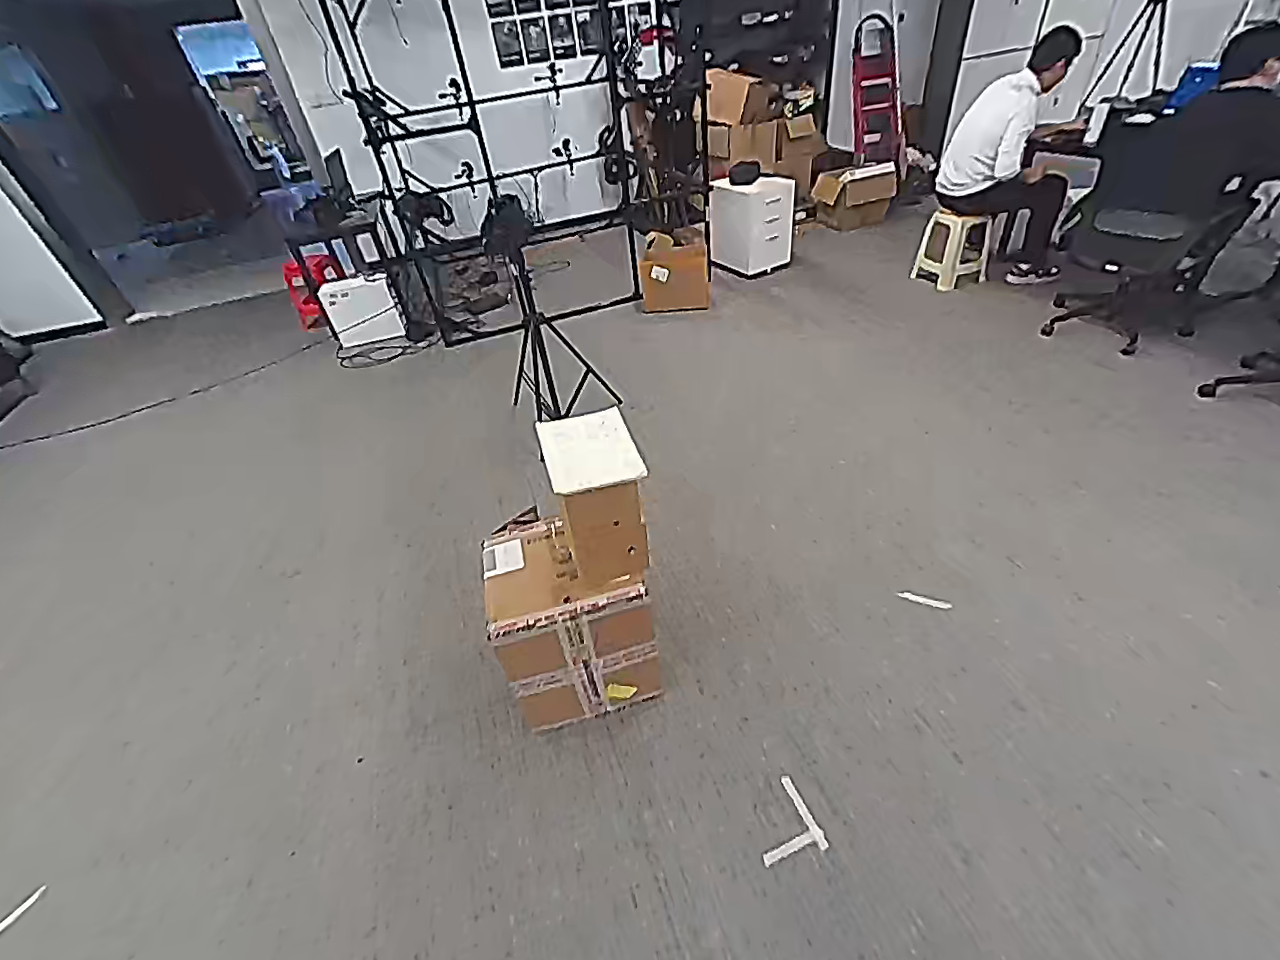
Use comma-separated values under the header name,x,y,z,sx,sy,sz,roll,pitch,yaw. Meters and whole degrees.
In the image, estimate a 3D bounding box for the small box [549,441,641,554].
name,x,y,z,sx,sy,sz,roll,pitch,yaw
small box,-0.103,0.040,1.237,0.168,0.176,0.179,-15,40,-12

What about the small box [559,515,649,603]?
name,x,y,z,sx,sy,sz,roll,pitch,yaw
small box,-0.084,0.171,1.335,0.179,0.176,0.168,-18,41,-13
